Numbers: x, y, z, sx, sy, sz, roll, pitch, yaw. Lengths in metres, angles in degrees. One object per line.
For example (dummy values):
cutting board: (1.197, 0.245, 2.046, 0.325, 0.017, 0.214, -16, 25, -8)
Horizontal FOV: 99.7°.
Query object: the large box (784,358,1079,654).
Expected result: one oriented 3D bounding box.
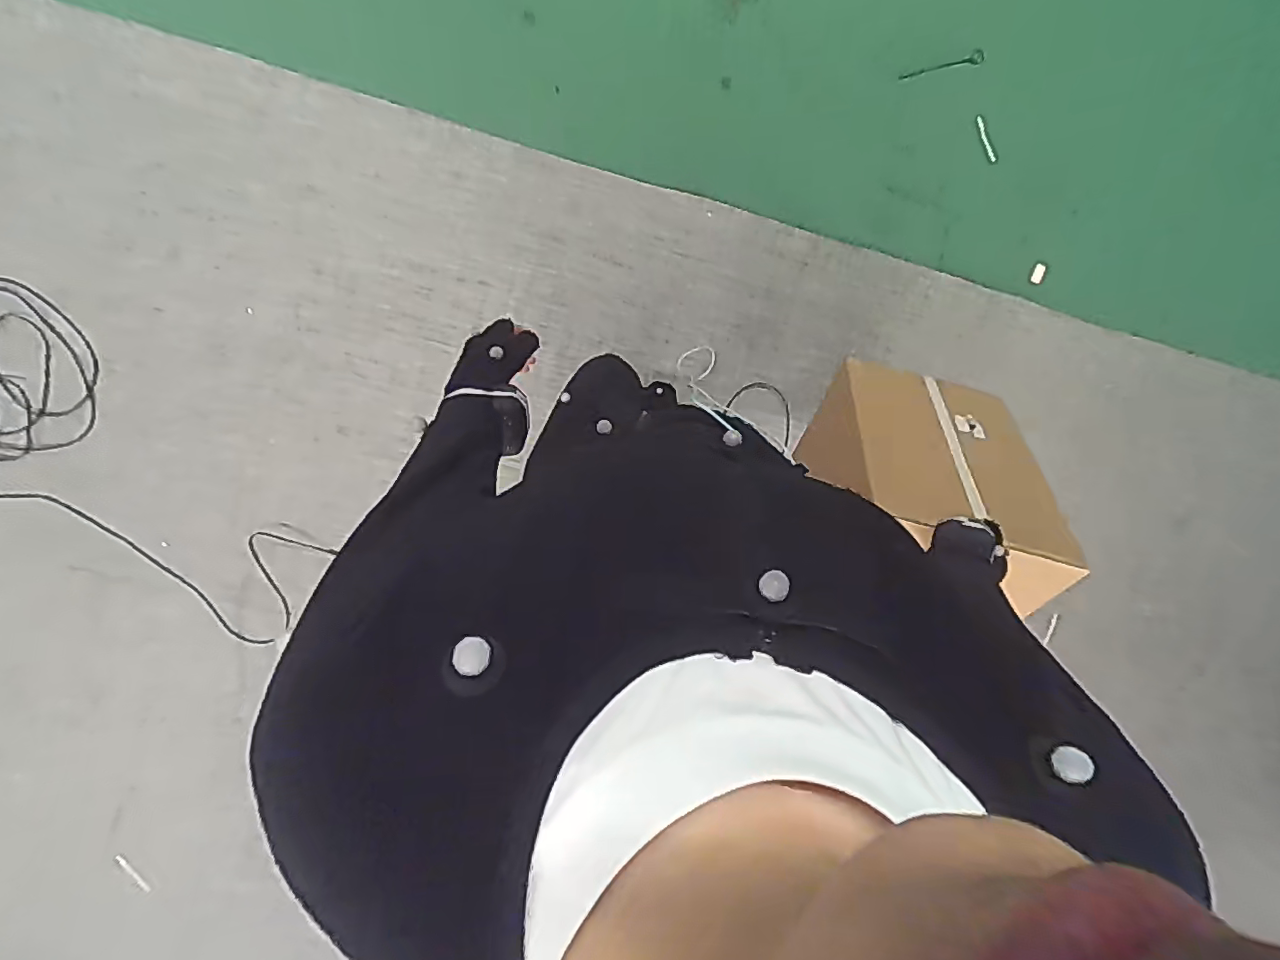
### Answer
large box: (0.469, 0.044, 0.991, 0.320, 0.408, 0.320, 15, 136, -2)
